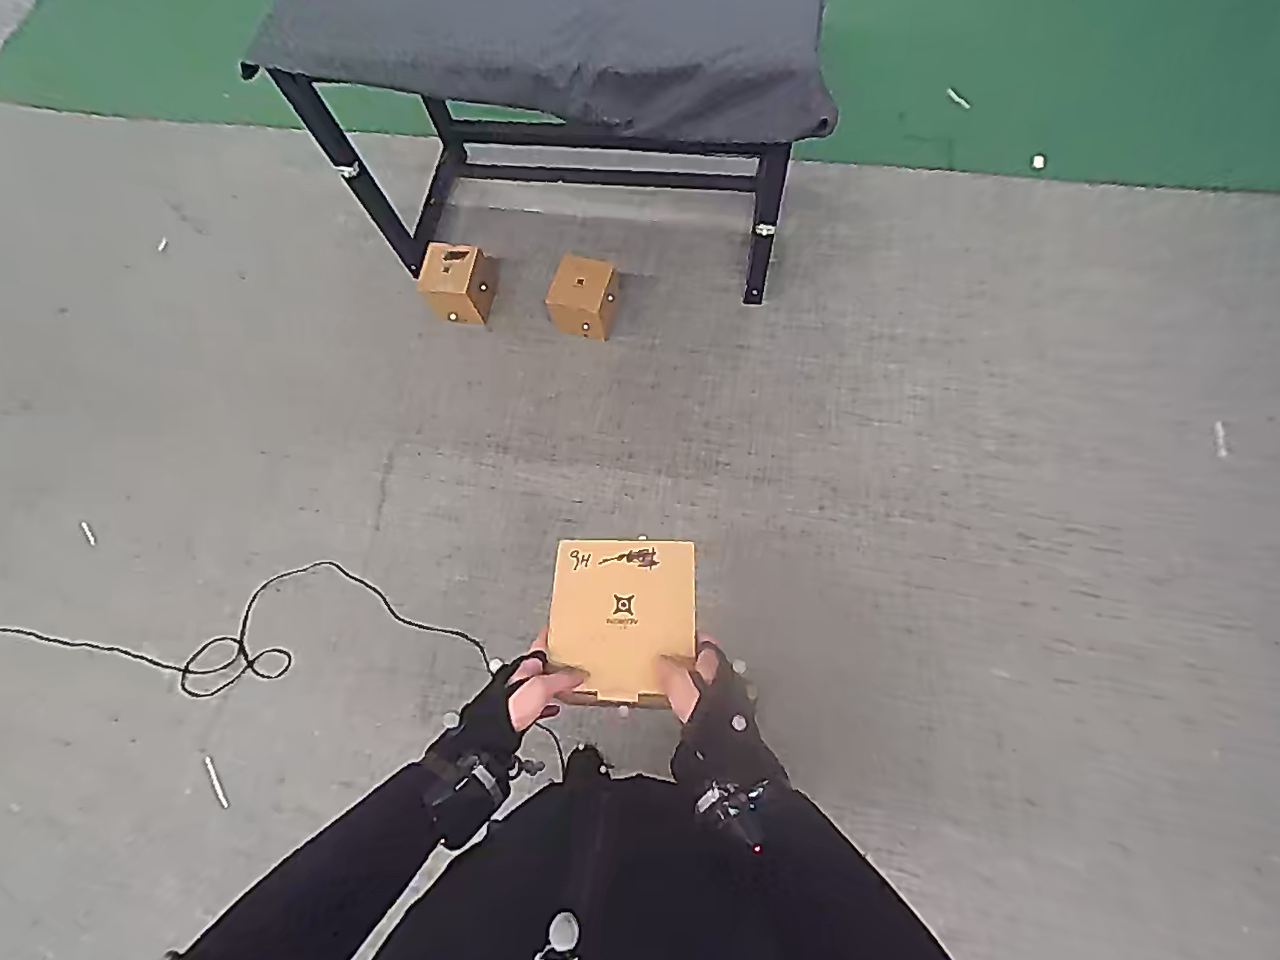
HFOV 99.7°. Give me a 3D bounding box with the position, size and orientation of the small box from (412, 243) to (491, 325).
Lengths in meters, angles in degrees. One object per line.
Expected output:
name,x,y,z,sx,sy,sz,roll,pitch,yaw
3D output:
small box,-0.589,-0.619,1.718,0.168,0.176,0.179,6,73,7

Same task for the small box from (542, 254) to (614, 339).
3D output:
small box,-0.183,-0.560,1.666,0.168,0.176,0.179,13,72,8

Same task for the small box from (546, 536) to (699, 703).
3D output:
small box,-0.010,0.179,0.671,0.168,0.176,0.179,0,64,4
